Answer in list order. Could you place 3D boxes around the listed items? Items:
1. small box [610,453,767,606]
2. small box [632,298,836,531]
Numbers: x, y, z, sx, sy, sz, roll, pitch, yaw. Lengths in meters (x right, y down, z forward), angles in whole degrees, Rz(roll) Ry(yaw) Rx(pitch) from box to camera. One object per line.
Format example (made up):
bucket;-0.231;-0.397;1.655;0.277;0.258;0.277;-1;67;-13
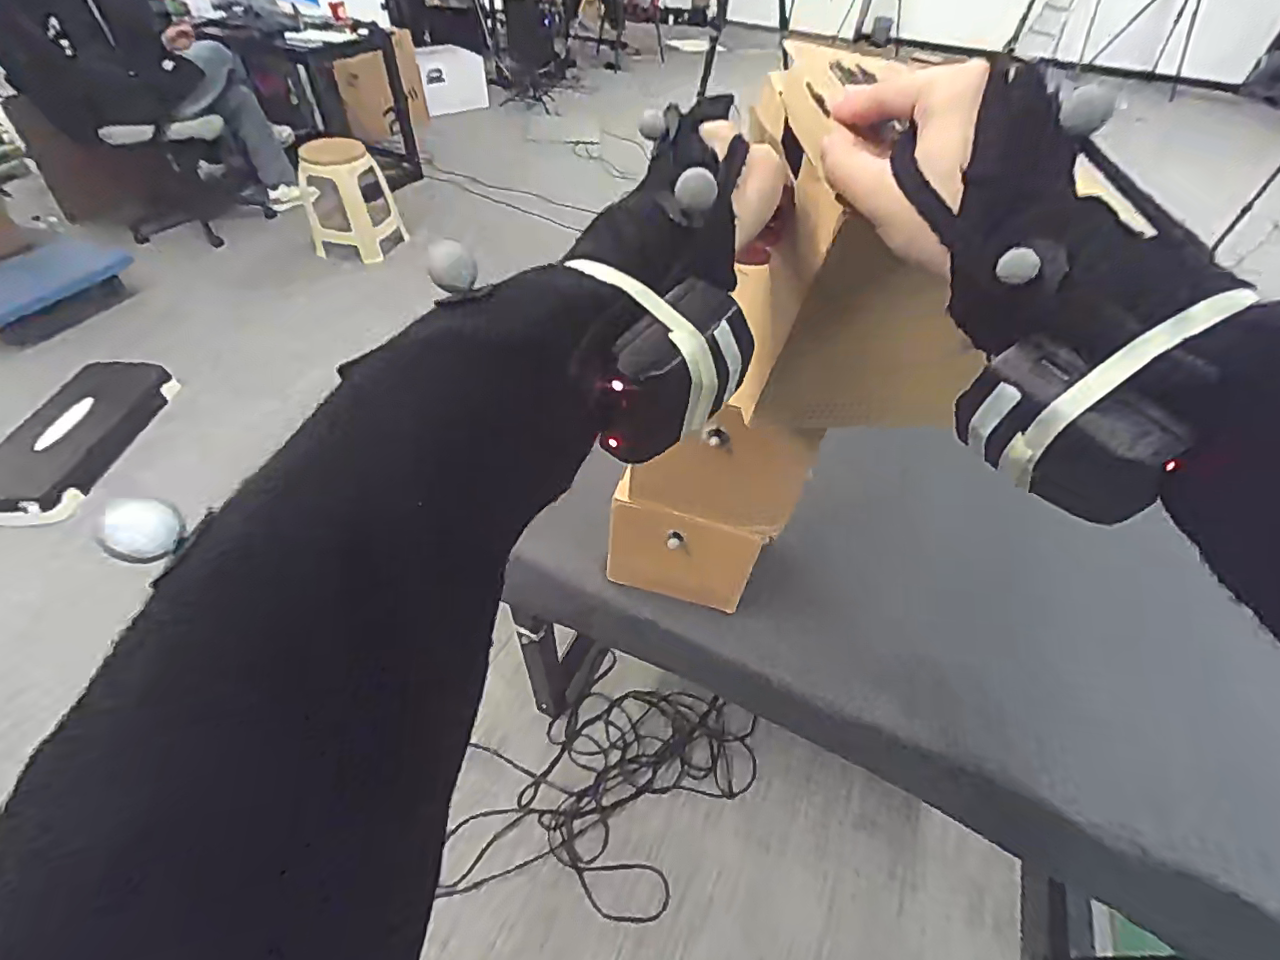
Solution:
small box;0.068;0.042;0.703;0.179;0.176;0.168;14;47;8
small box;0.095;-0.068;0.585;0.179;0.176;0.168;15;49;8
